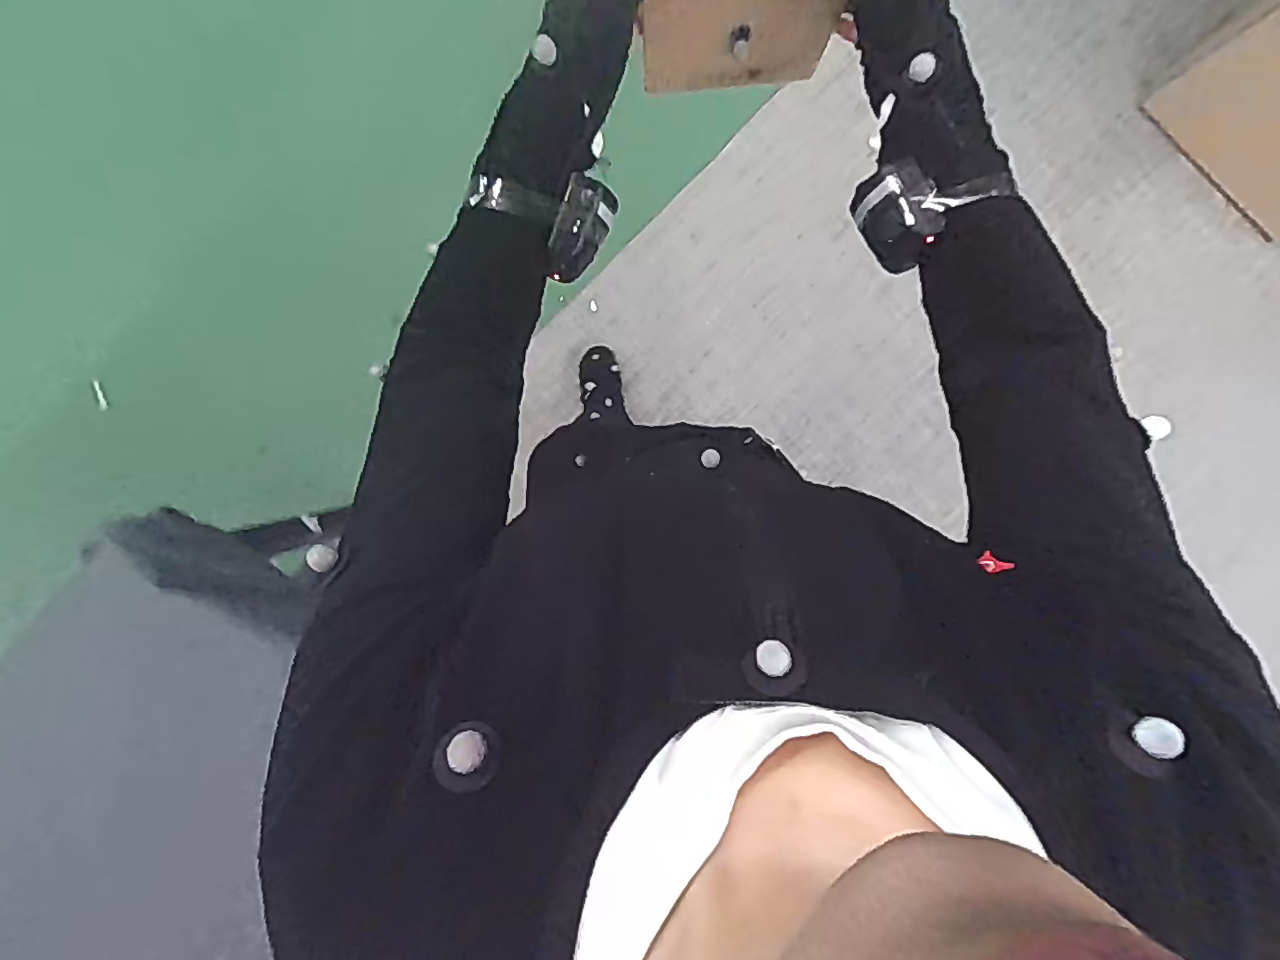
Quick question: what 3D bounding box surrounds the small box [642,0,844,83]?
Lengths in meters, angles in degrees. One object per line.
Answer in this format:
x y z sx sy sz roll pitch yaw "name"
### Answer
0.082 -0.457 0.439 0.168 0.176 0.179 -3 98 3 "small box"
